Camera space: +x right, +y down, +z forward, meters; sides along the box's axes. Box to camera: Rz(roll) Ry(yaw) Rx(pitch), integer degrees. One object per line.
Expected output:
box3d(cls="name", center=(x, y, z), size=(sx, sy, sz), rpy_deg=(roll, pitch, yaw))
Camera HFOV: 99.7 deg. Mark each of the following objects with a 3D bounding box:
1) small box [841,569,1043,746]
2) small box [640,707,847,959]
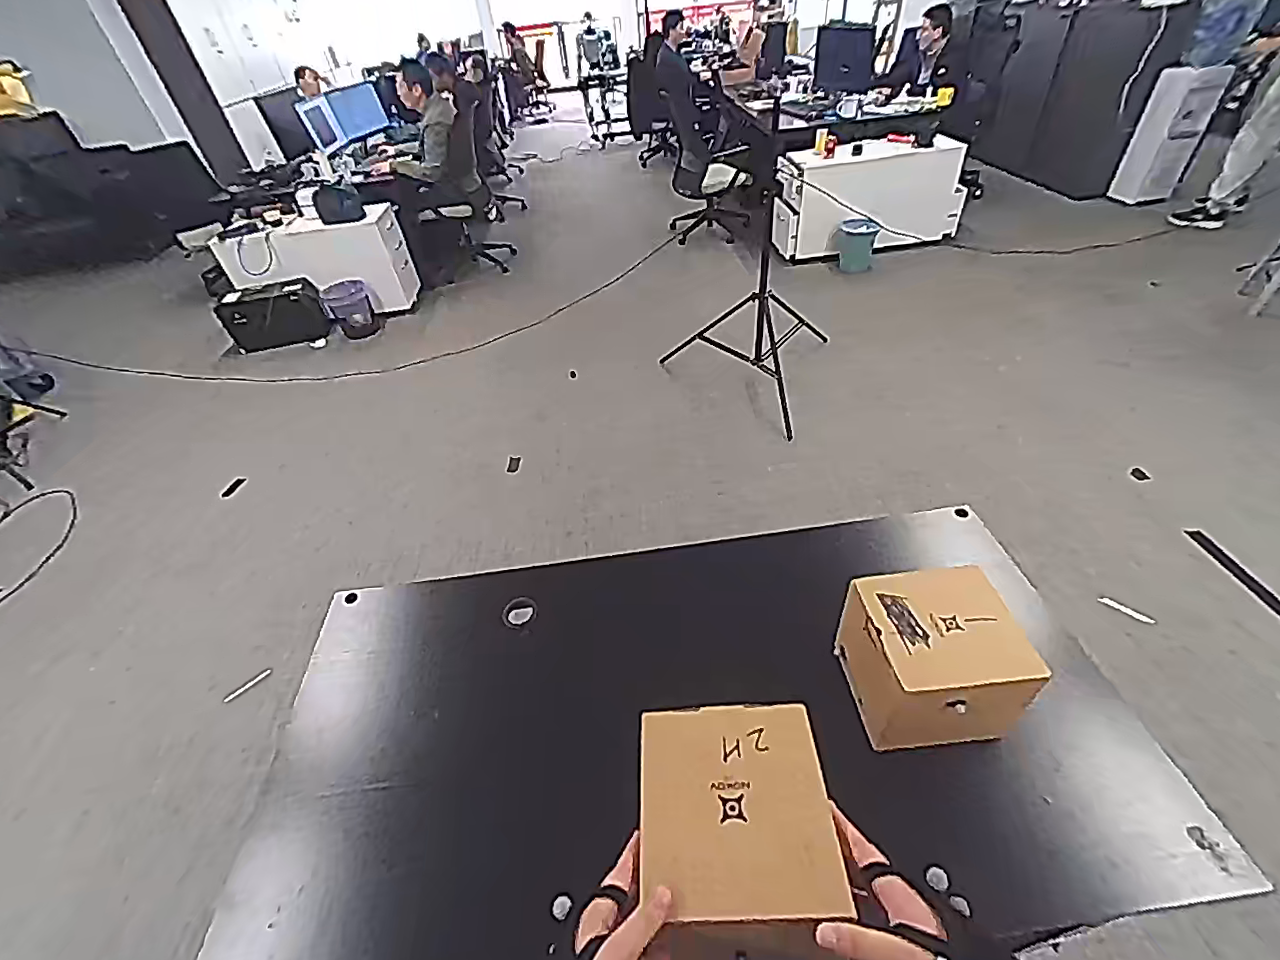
box3d(cls="small box", center=(0.389, 0.246, 0.741), size=(0.179, 0.176, 0.168), rpy_deg=(-6, 42, 1))
box3d(cls="small box", center=(0.094, 0.354, 0.533), size=(0.168, 0.176, 0.179), rpy_deg=(-4, 33, 5))
